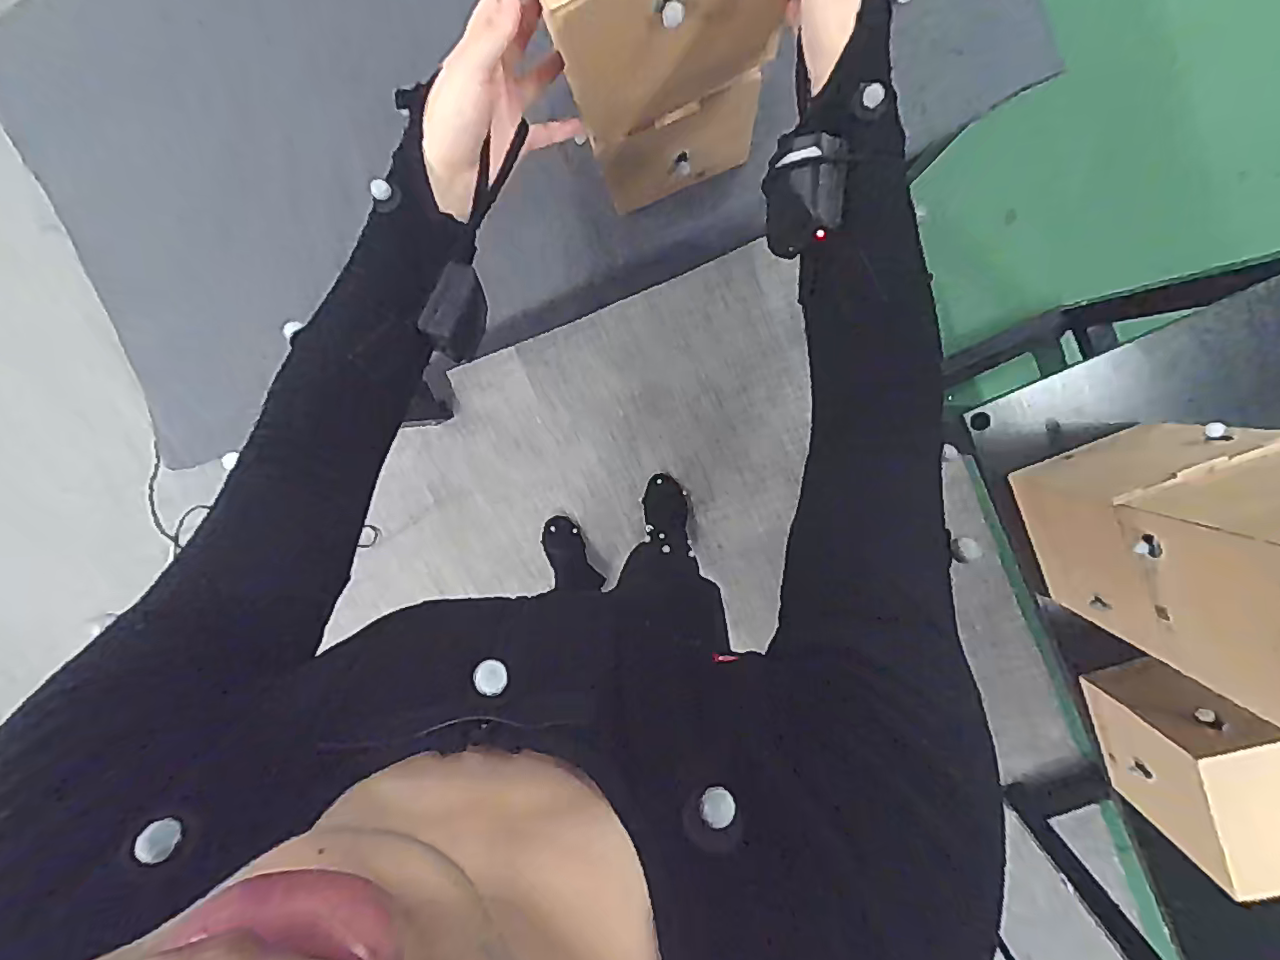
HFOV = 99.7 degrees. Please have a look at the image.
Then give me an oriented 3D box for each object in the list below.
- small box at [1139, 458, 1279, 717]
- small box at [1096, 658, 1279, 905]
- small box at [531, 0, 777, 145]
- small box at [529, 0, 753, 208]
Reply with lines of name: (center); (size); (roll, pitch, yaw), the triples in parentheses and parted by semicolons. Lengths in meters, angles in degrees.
small box: (0.537, 0.082, 0.410); (0.179, 0.176, 0.168); (-21, 97, 8)
small box: (0.656, 0.308, 0.597); (0.179, 0.176, 0.168); (-20, 96, 9)
small box: (-0.002, -0.399, 0.401); (0.179, 0.176, 0.168); (-22, 93, 10)
small box: (0.009, -0.413, 0.564); (0.168, 0.176, 0.179); (-20, 94, 9)
